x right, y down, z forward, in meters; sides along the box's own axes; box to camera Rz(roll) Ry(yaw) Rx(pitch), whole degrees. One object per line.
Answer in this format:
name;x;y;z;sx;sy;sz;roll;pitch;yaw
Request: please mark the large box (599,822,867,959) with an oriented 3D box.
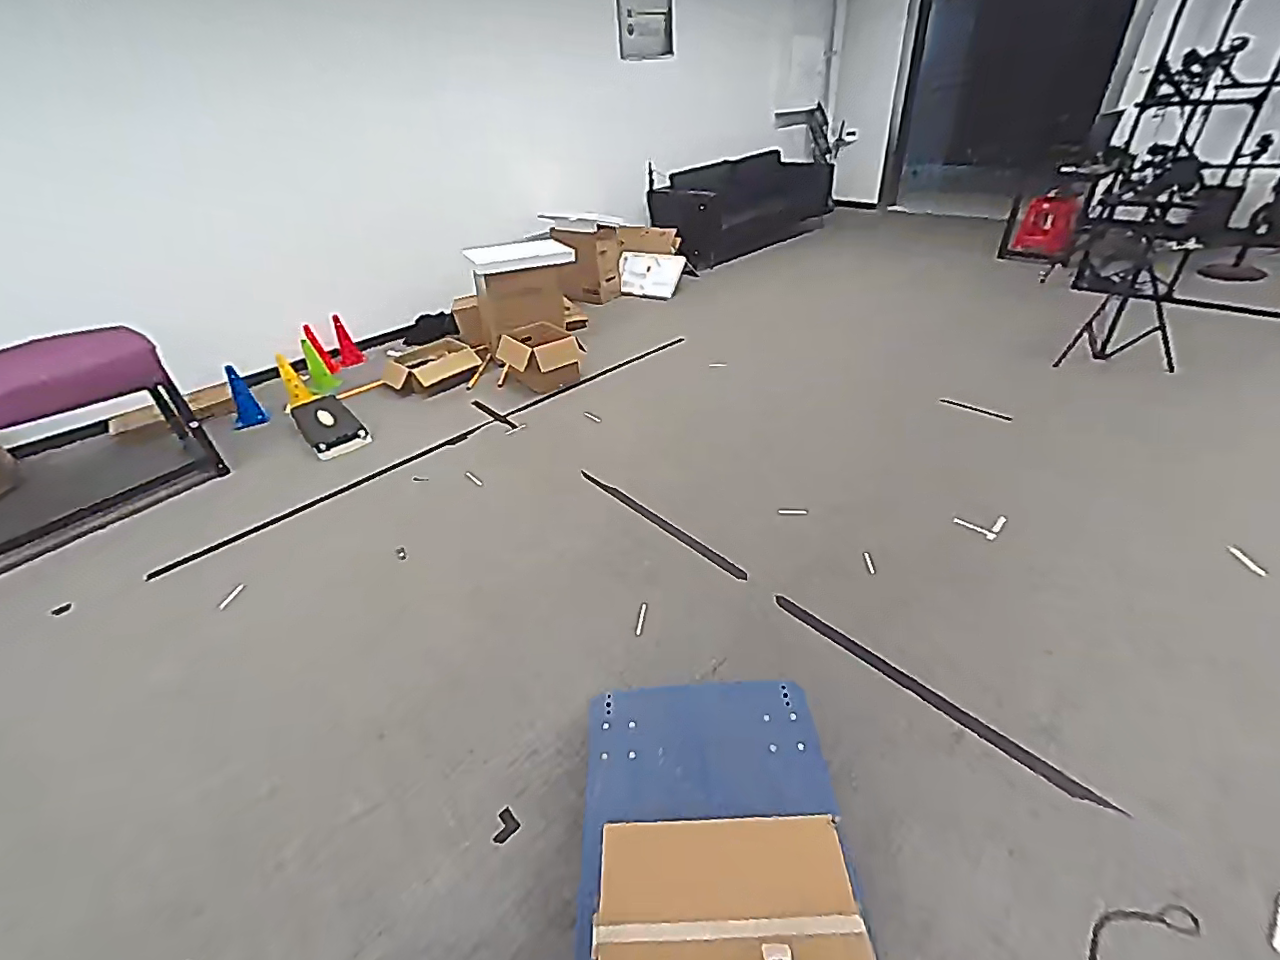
large box;0.143;0.820;0.906;0.408;0.320;0.320;-3;36;1
